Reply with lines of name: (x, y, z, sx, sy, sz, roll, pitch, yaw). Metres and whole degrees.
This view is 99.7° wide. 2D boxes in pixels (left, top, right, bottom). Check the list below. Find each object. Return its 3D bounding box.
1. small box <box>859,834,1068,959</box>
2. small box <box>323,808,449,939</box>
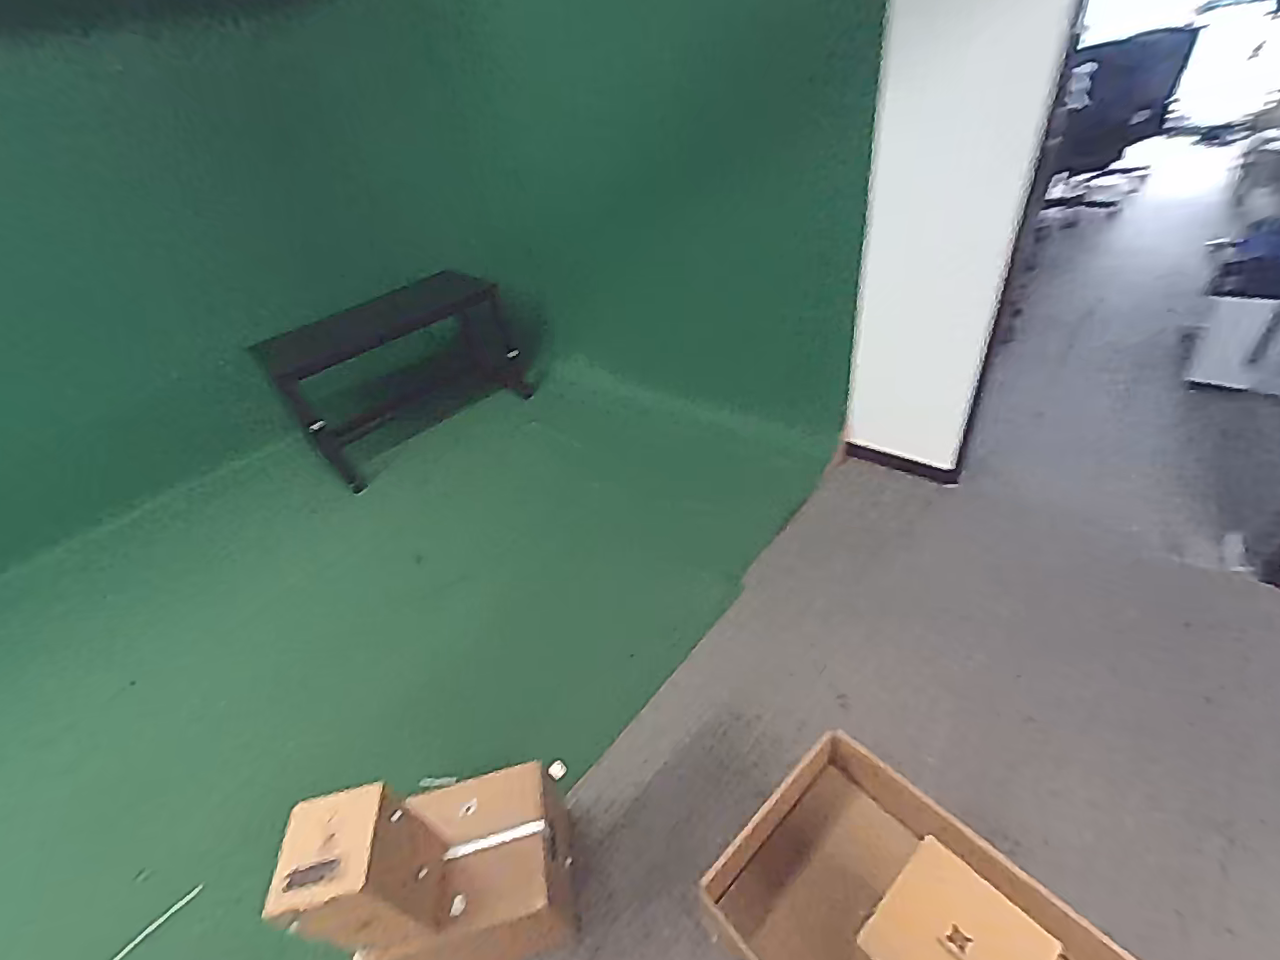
small box: (0.409, 0.625, 0.711, 0.179, 0.176, 0.168, -34, 43, -24)
small box: (-0.509, 0.816, 1.116, 0.168, 0.176, 0.179, -11, 39, -2)
